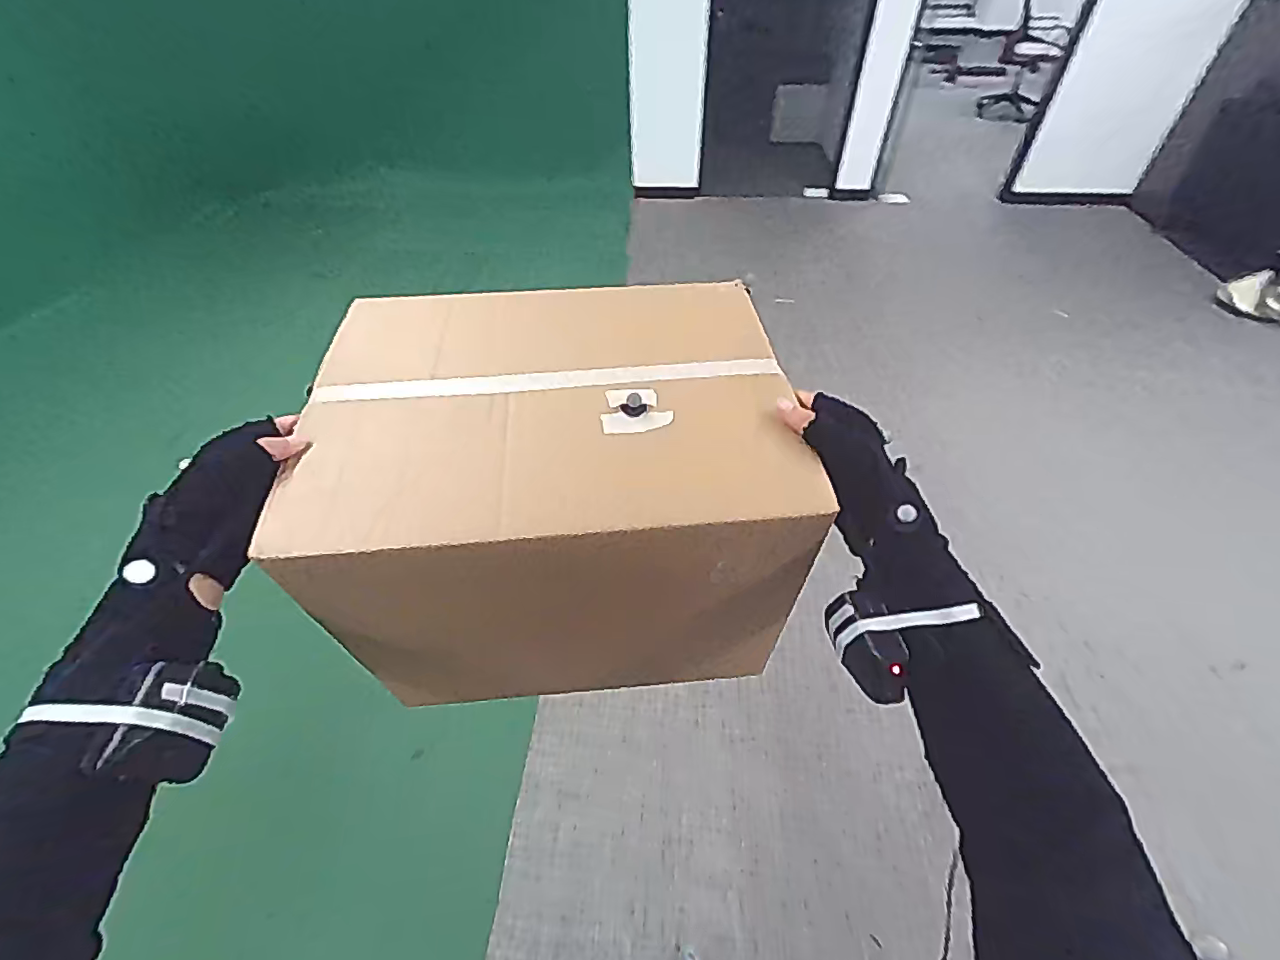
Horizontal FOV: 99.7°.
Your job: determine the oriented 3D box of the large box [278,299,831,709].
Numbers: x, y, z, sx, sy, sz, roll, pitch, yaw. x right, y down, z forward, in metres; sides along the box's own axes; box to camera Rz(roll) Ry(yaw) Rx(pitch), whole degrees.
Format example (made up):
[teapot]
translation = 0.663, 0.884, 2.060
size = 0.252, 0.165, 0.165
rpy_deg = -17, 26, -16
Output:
[large box]
translation = -0.071, 0.027, 0.592
size = 0.408, 0.320, 0.320
rpy_deg = -4, 50, -4
